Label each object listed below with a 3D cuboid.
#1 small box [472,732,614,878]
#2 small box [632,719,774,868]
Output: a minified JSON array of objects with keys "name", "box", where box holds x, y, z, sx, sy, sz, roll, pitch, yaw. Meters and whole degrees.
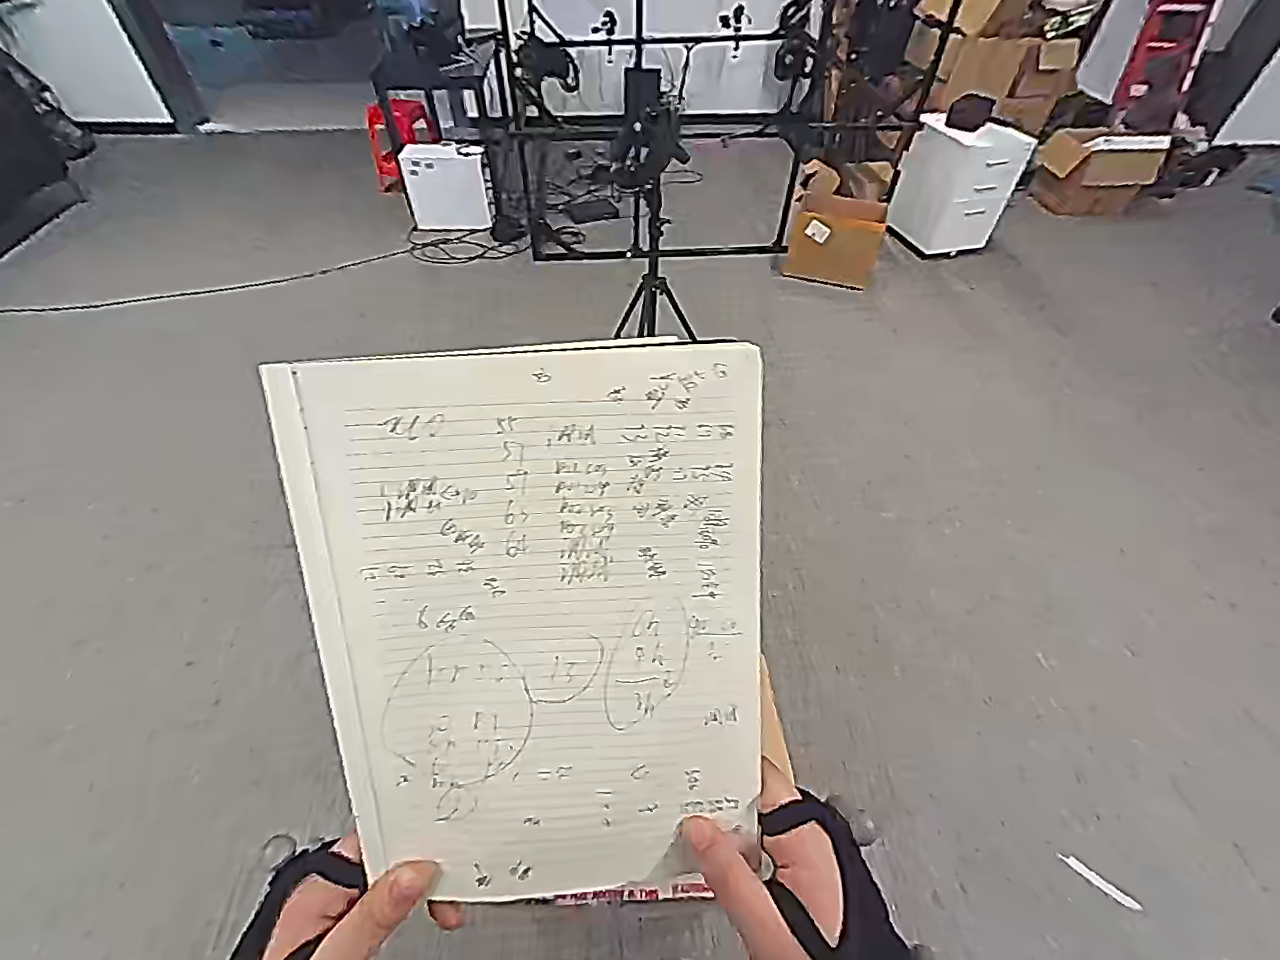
[{"name":"small box","box":[-0.132,0.494,0.818,0.179,0.176,0.168,1,50,2]},{"name":"small box","box":[0.085,0.484,0.833,0.179,0.176,0.168,-3,50,-6]}]
